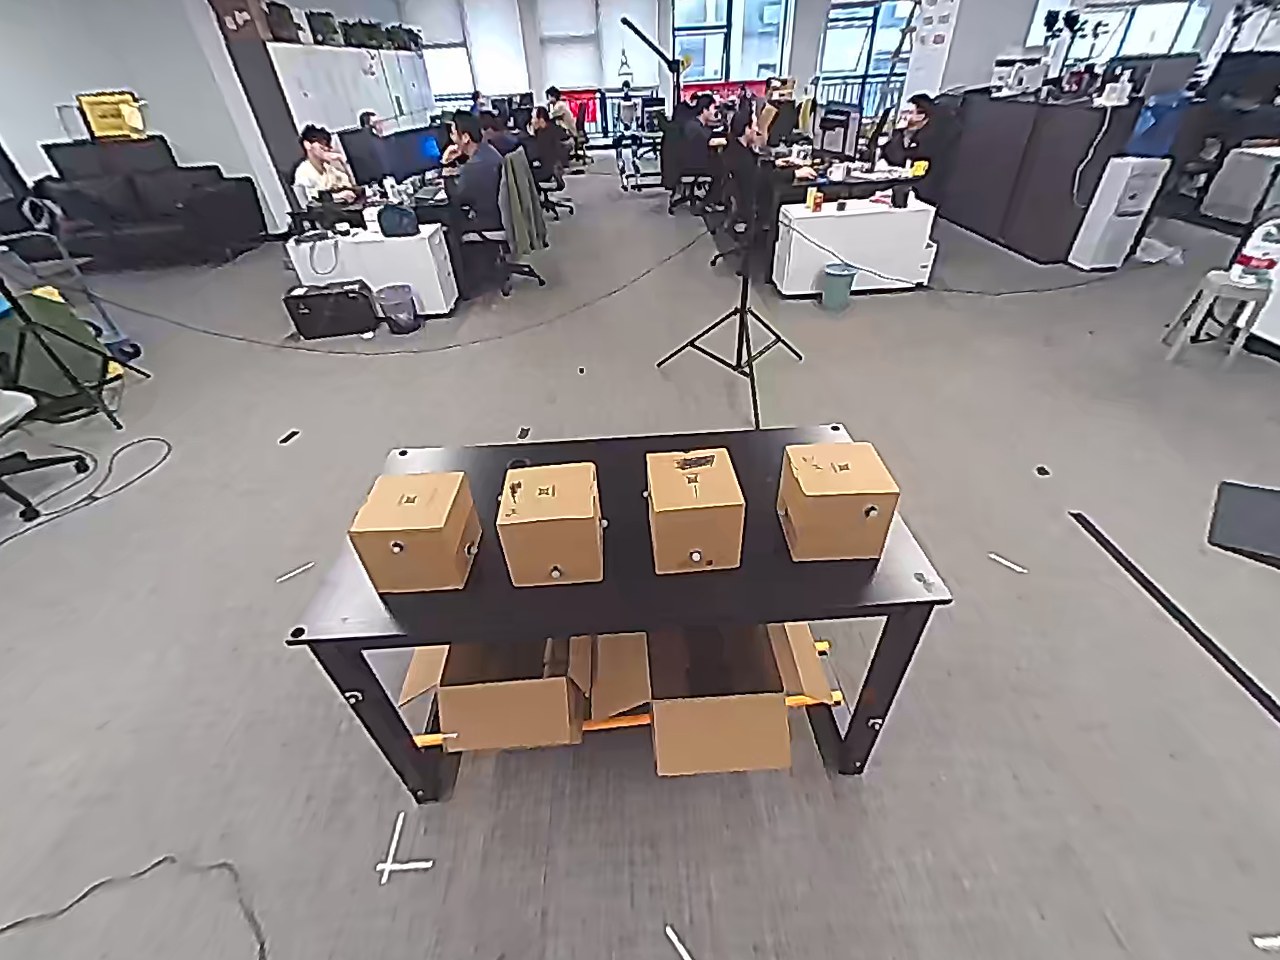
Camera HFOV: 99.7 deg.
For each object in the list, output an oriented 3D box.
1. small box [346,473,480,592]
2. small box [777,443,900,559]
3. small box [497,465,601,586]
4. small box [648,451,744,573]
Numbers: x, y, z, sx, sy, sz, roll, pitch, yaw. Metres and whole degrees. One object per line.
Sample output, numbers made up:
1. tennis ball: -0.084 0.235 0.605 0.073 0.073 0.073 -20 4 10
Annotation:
1. small box: -0.431 0.104 1.058 0.179 0.176 0.168 -2 39 -1
2. small box: 0.382 0.043 1.076 0.179 0.176 0.168 -3 36 2
3. small box: -0.168 0.090 1.058 0.179 0.176 0.168 -4 37 -2
4. small box: 0.103 0.062 1.074 0.168 0.176 0.179 -5 38 -2
